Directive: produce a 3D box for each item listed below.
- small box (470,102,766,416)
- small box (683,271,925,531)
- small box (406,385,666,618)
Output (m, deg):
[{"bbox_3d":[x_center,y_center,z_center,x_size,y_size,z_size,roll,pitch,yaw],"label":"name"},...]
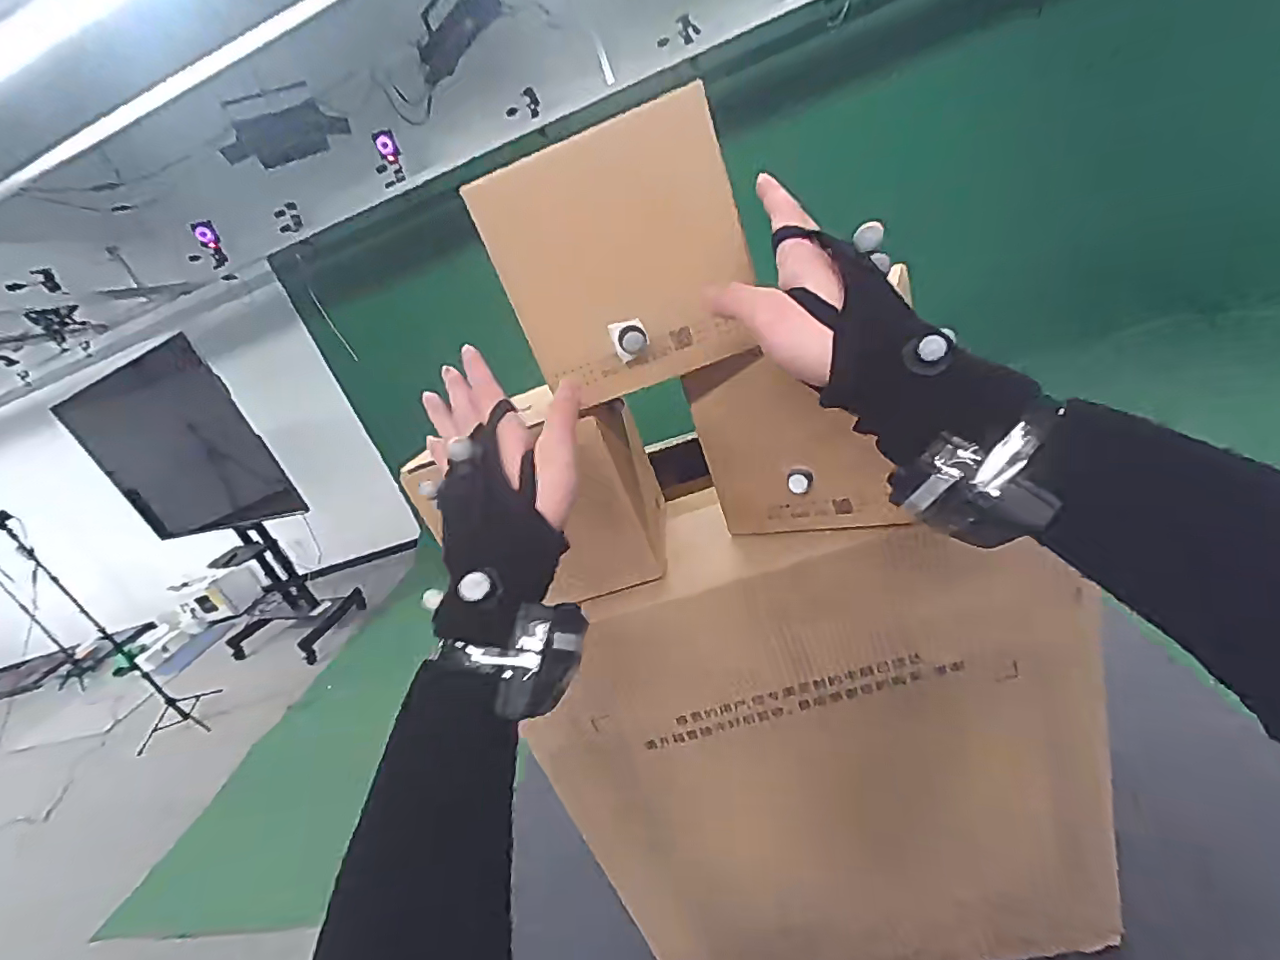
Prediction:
[{"bbox_3d":[-0.010,-0.171,0.453,0.168,0.176,0.179,-20,23,8],"label":"small box"},{"bbox_3d":[0.157,-0.070,0.494,0.168,0.176,0.179,-7,26,31],"label":"small box"},{"bbox_3d":[-0.086,0.011,0.540,0.179,0.176,0.168,-19,22,10],"label":"small box"}]
